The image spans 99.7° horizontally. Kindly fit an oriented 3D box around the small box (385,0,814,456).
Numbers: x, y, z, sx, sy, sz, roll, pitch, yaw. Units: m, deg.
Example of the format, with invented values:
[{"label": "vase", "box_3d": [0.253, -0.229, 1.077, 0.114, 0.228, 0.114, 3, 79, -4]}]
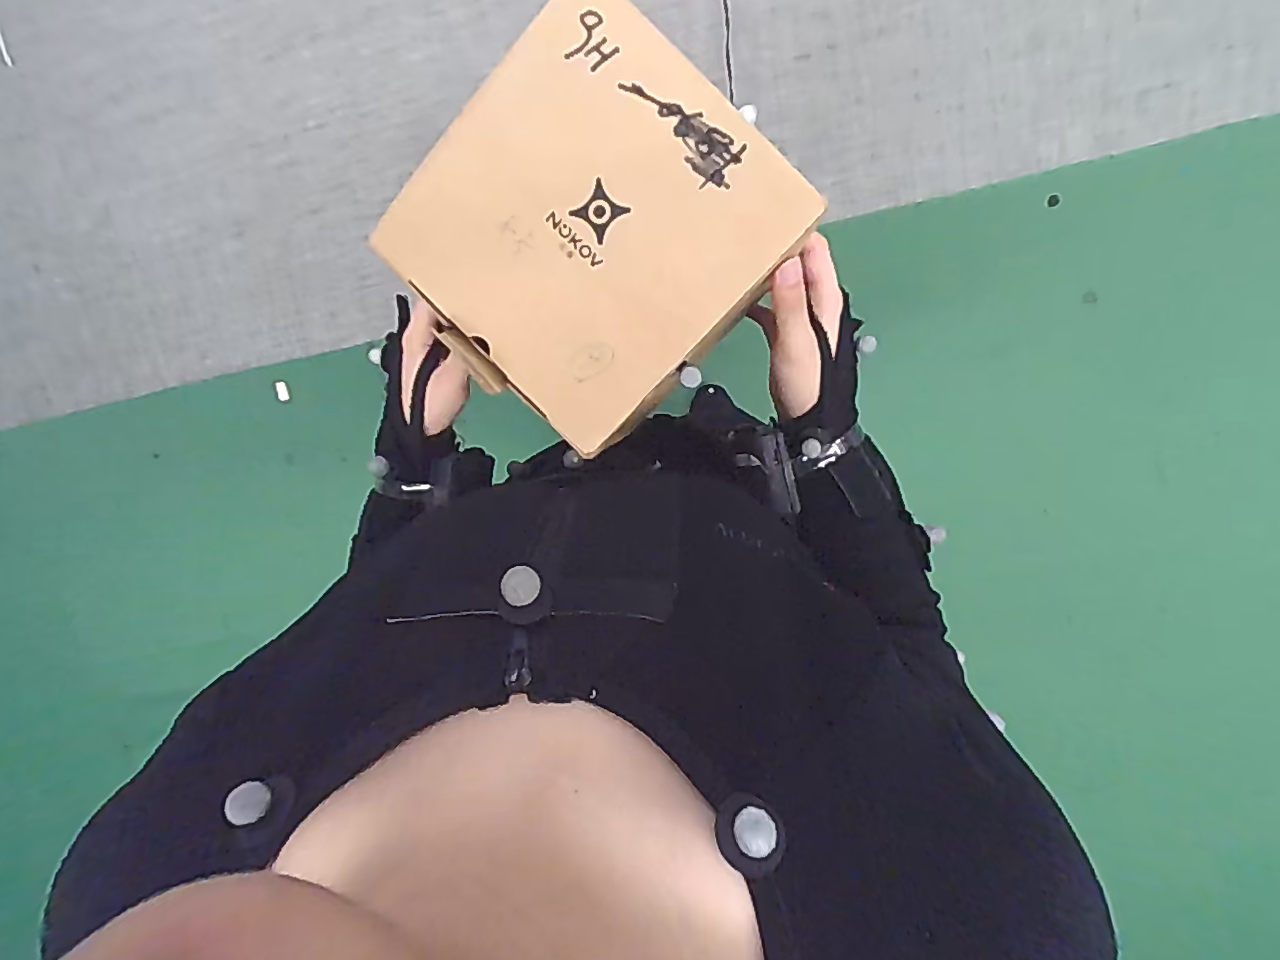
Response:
[{"label": "small box", "box_3d": [-0.017, -0.139, 0.362, 0.168, 0.176, 0.179, 44, 101, -2]}]
